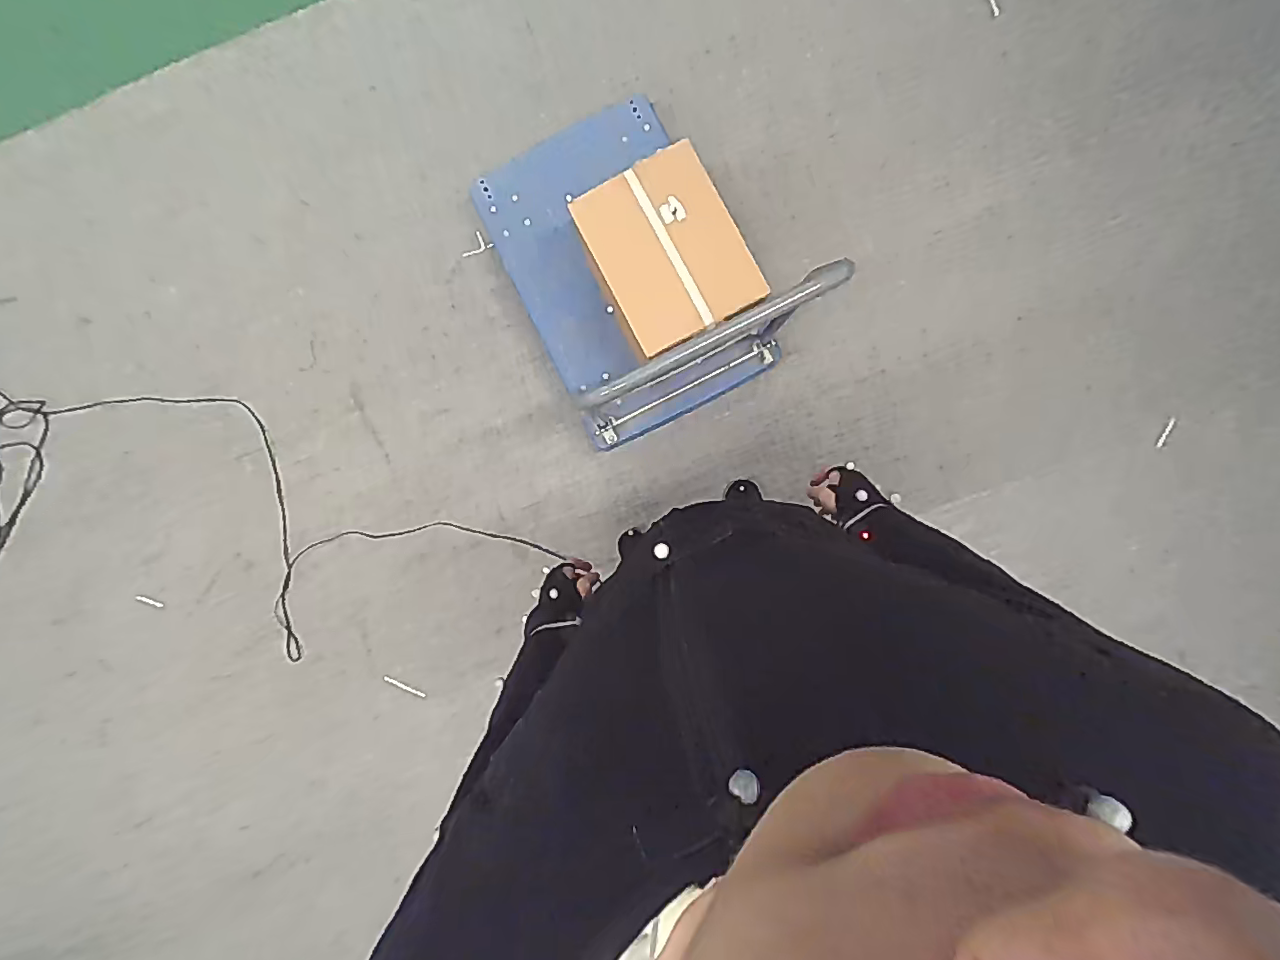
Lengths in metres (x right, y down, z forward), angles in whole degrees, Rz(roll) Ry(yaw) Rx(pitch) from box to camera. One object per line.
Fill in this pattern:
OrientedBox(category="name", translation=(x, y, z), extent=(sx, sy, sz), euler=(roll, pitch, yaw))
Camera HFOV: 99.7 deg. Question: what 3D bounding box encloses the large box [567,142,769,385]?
OrientedBox(category="large box", translation=(0.070, -0.508, 1.350), extent=(0.320, 0.320, 0.408), euler=(-28, 86, 1))
